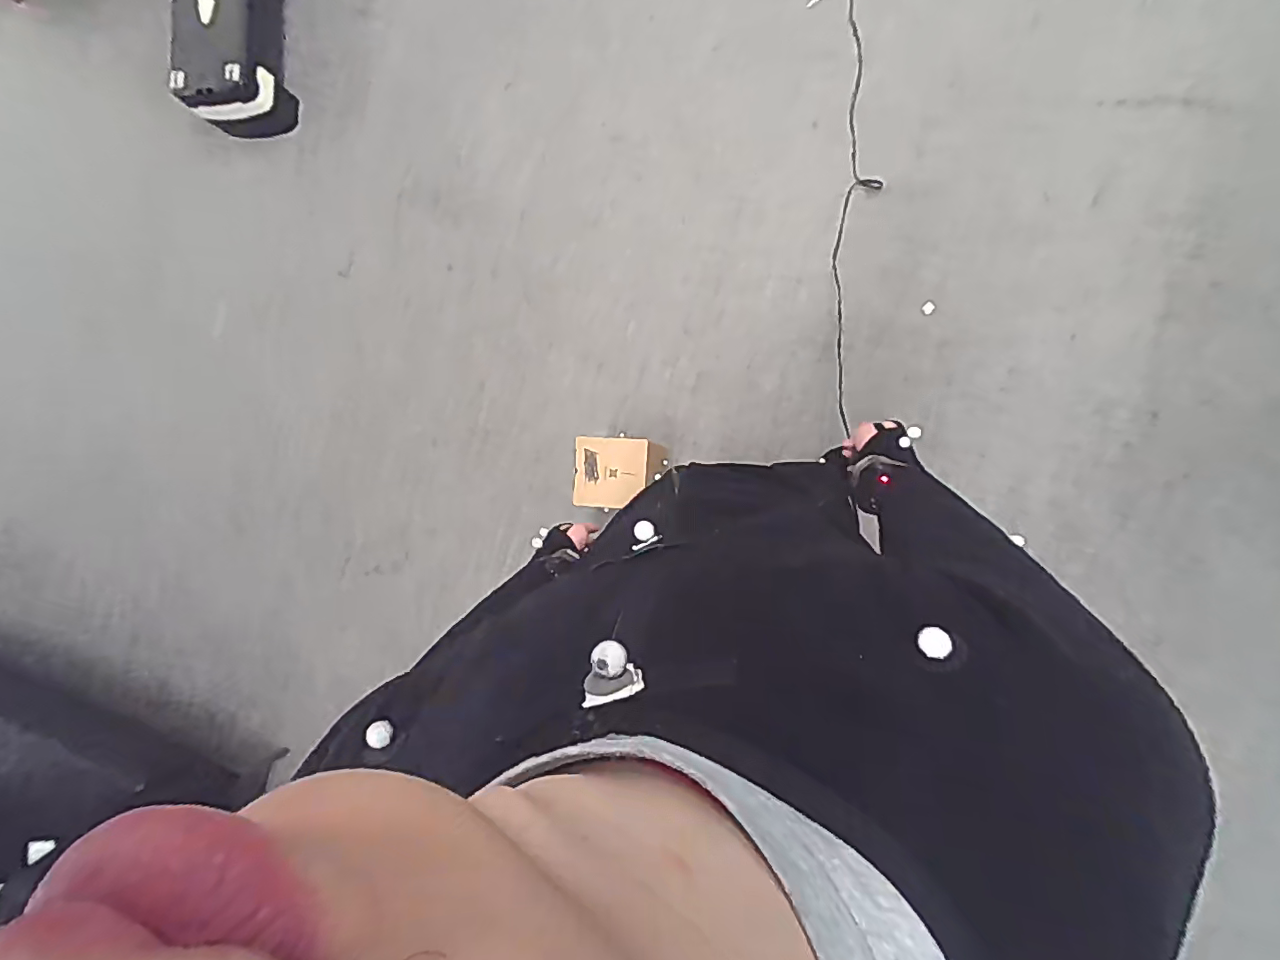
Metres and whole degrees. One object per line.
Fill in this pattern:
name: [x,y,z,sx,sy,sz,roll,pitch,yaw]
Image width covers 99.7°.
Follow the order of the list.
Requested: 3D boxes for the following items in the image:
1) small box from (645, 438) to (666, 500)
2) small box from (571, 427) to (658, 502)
small box: [-0.027,-0.038,1.505,0.179,0.176,0.168,3,92,13]
small box: [-0.058,-0.038,1.344,0.179,0.176,0.168,5,93,10]
